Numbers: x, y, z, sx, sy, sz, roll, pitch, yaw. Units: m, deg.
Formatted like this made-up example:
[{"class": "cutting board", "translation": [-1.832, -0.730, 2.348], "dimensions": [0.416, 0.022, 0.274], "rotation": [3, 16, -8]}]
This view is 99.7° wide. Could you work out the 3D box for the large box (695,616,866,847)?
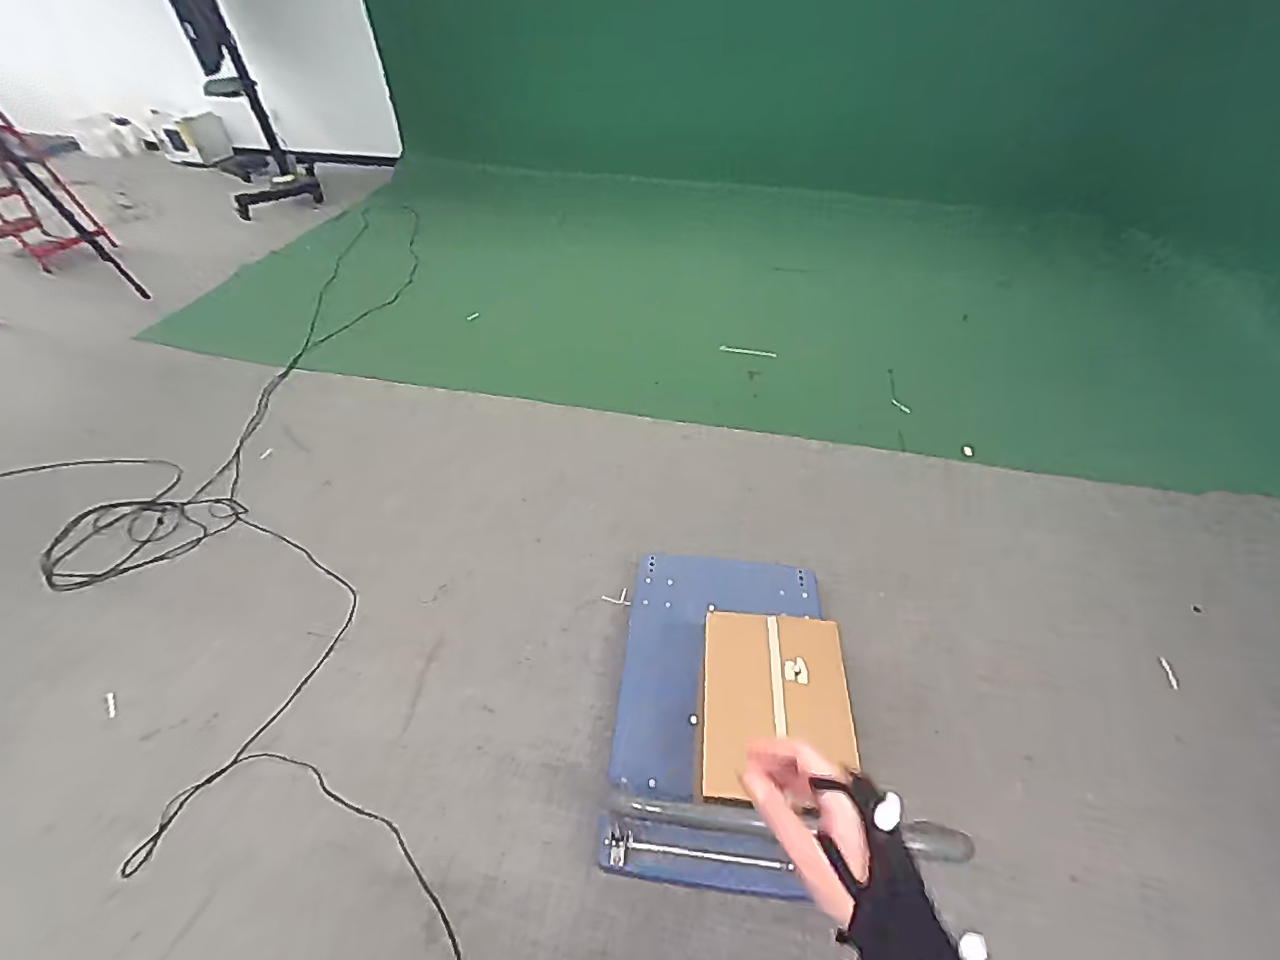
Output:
[{"class": "large box", "translation": [0.292, 0.585, 1.267], "dimensions": [0.320, 0.320, 0.408], "rotation": [5, 46, 3]}]
